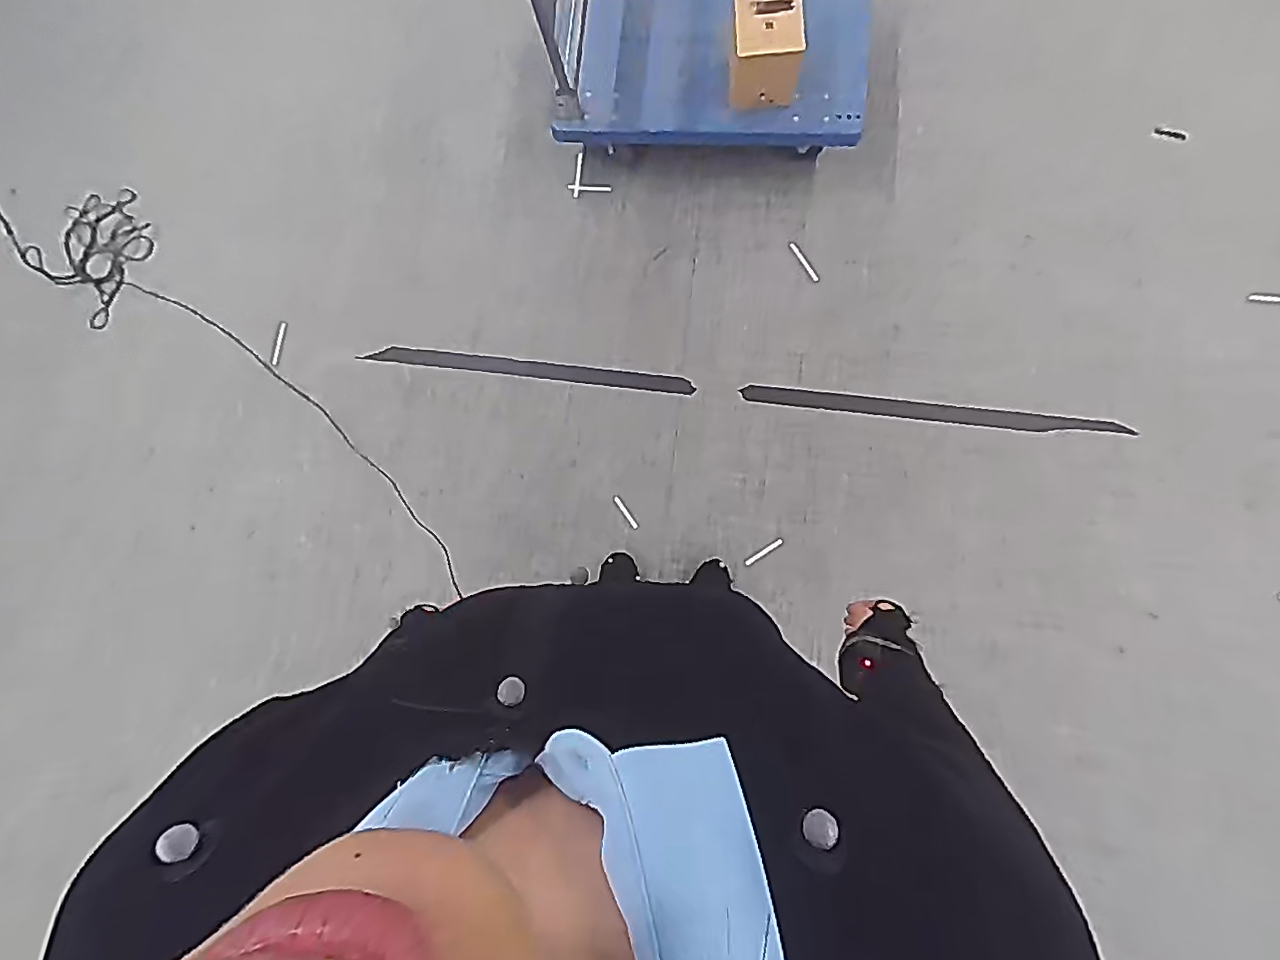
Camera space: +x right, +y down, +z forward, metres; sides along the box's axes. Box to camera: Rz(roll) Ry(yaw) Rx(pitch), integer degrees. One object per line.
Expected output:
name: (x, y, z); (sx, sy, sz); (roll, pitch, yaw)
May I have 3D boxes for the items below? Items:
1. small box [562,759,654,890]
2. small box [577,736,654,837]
small box: (-0.063, 0.743, 1.184); (0.168, 0.176, 0.179); (7, 82, 5)
small box: (-0.056, 0.760, 1.346); (0.168, 0.176, 0.179); (-5, 81, 3)
